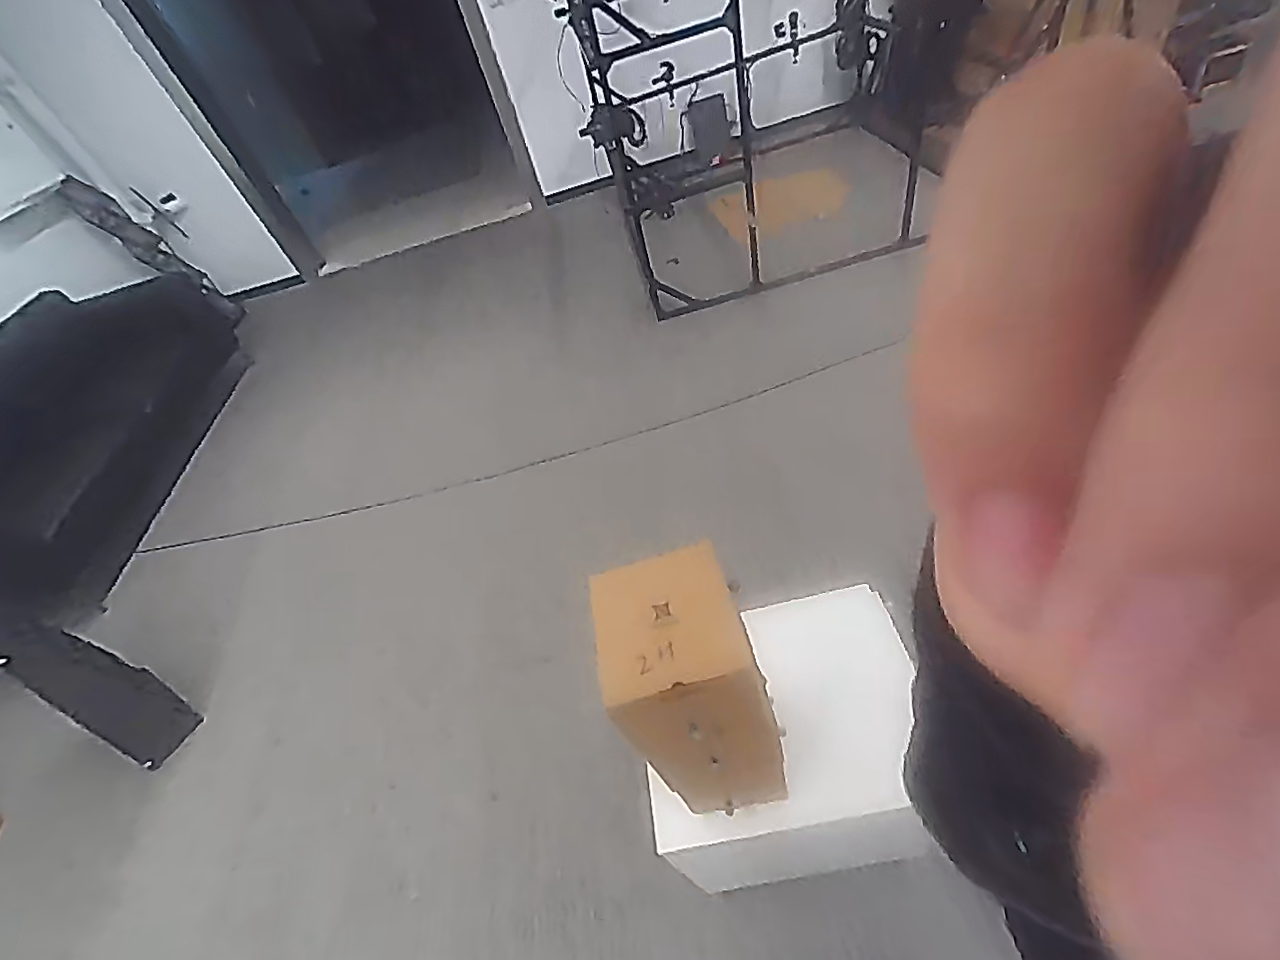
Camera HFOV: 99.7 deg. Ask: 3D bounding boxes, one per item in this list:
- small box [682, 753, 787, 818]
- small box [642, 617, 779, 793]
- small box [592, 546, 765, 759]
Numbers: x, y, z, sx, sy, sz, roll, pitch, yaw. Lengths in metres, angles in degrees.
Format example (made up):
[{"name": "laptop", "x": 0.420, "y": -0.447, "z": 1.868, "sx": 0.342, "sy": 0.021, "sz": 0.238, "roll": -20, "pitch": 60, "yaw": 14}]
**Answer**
[{"name": "small box", "x": 0.141, "y": 0.437, "z": 0.904, "sx": 0.168, "sy": 0.176, "sz": 0.179, "roll": -14, "pitch": 45, "yaw": 6}, {"name": "small box", "x": 0.096, "y": 0.329, "z": 0.788, "sx": 0.179, "sy": 0.176, "sz": 0.168, "roll": -18, "pitch": 44, "yaw": 4}, {"name": "small box", "x": 0.048, "y": 0.217, "z": 0.677, "sx": 0.168, "sy": 0.176, "sz": 0.179, "roll": -17, "pitch": 44, "yaw": 4}]
